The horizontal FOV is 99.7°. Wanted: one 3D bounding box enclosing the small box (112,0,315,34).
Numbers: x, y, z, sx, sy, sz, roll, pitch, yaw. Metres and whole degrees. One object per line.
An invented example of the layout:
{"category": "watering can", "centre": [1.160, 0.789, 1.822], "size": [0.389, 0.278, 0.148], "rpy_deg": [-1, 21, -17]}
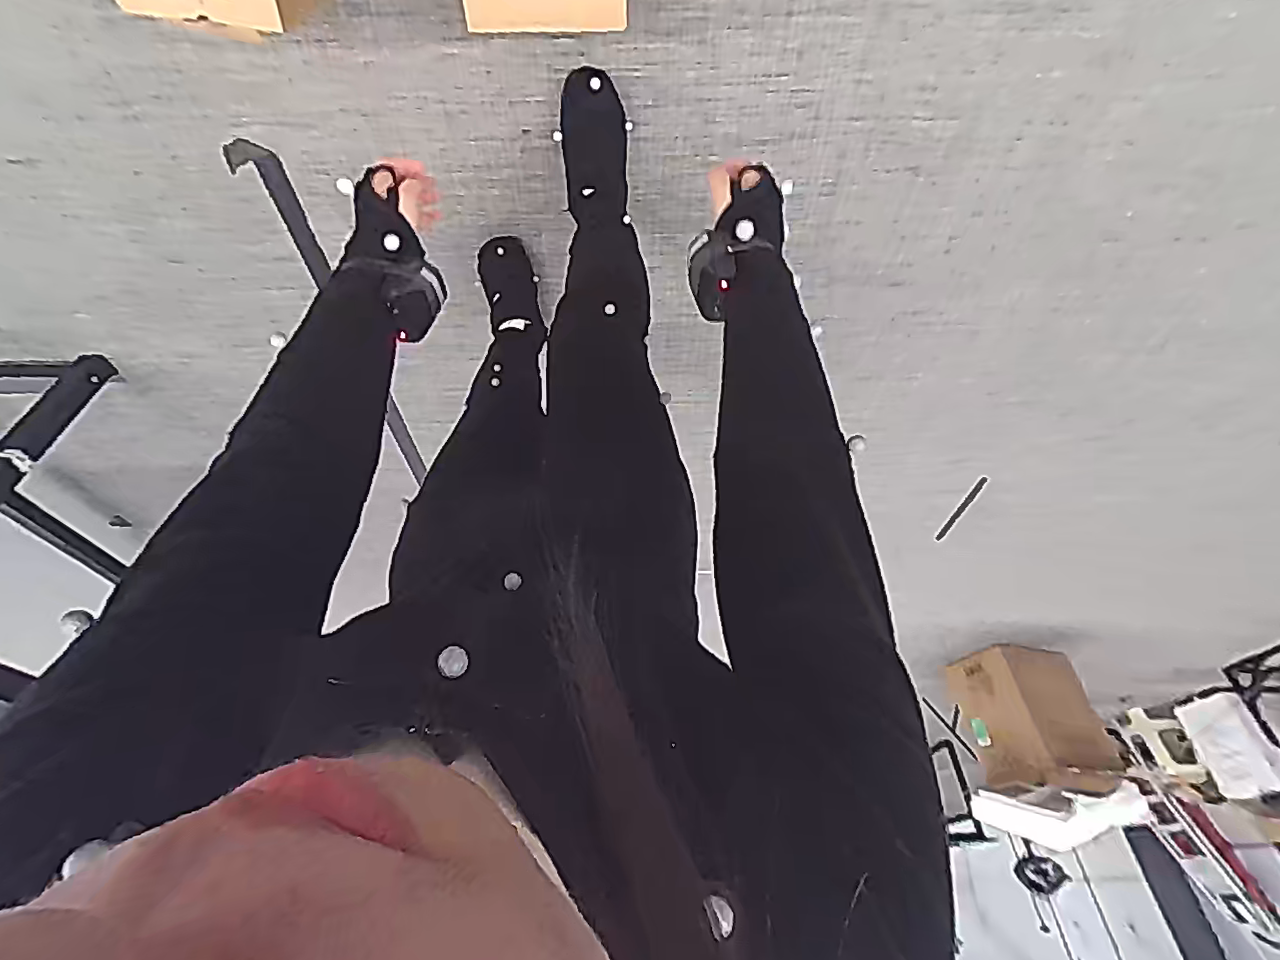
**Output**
{"category": "small box", "centre": [-0.452, -0.598, 0.549], "size": [0.168, 0.176, 0.179], "rpy_deg": [3, 141, -7]}

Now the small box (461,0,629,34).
{"category": "small box", "centre": [-0.101, -0.596, 0.569], "size": [0.179, 0.176, 0.168], "rpy_deg": [0, 141, -1]}
